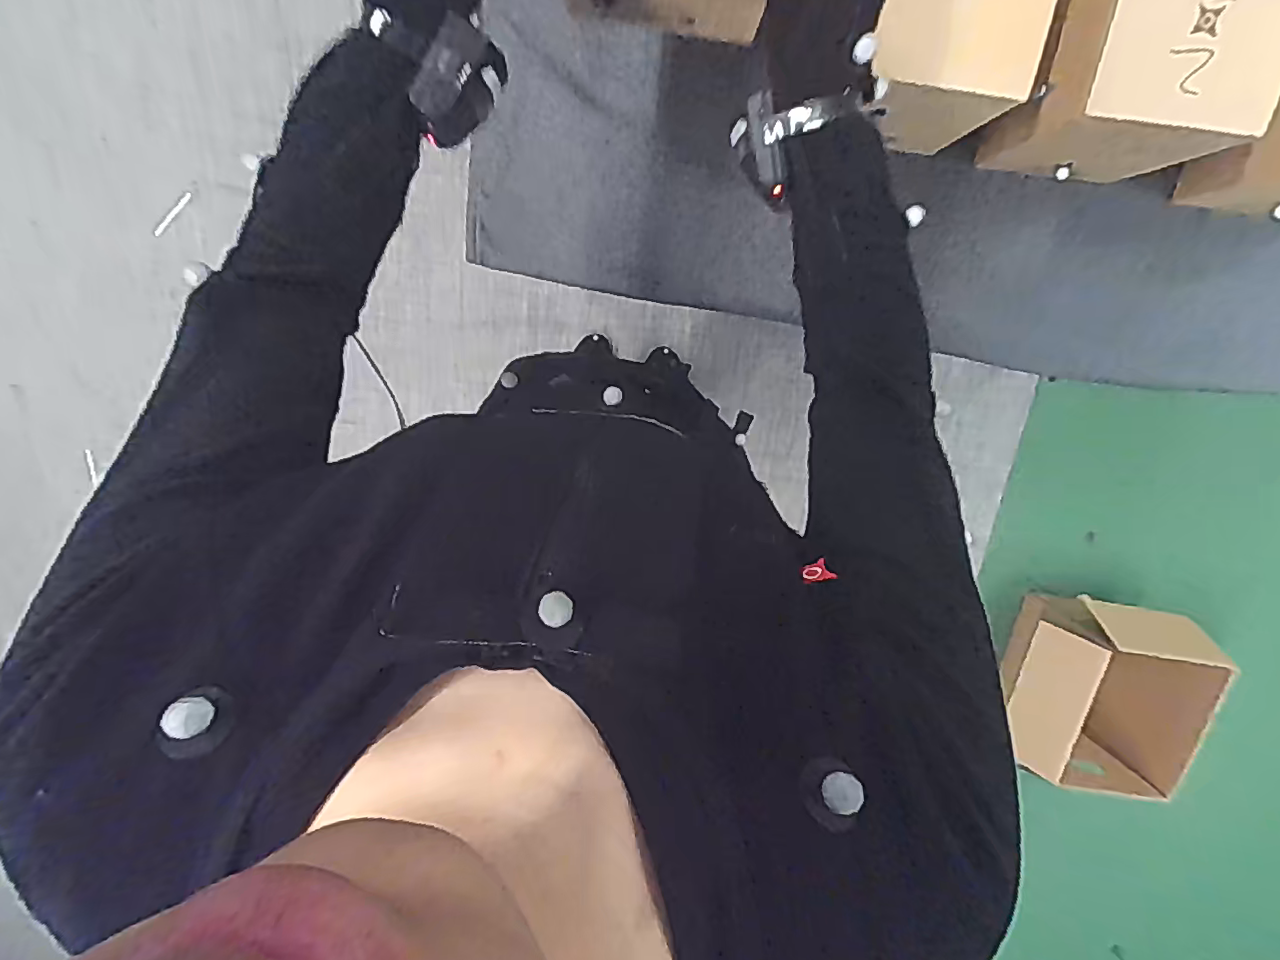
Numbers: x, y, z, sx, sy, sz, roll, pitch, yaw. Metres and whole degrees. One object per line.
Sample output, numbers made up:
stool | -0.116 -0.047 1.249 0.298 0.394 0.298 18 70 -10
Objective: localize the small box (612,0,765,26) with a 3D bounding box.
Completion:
small box | 0.032 -0.461 0.367 0.168 0.176 0.179 7 102 -2

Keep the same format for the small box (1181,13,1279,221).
small box | 0.715 -0.378 0.540 0.168 0.176 0.179 7 105 -1
